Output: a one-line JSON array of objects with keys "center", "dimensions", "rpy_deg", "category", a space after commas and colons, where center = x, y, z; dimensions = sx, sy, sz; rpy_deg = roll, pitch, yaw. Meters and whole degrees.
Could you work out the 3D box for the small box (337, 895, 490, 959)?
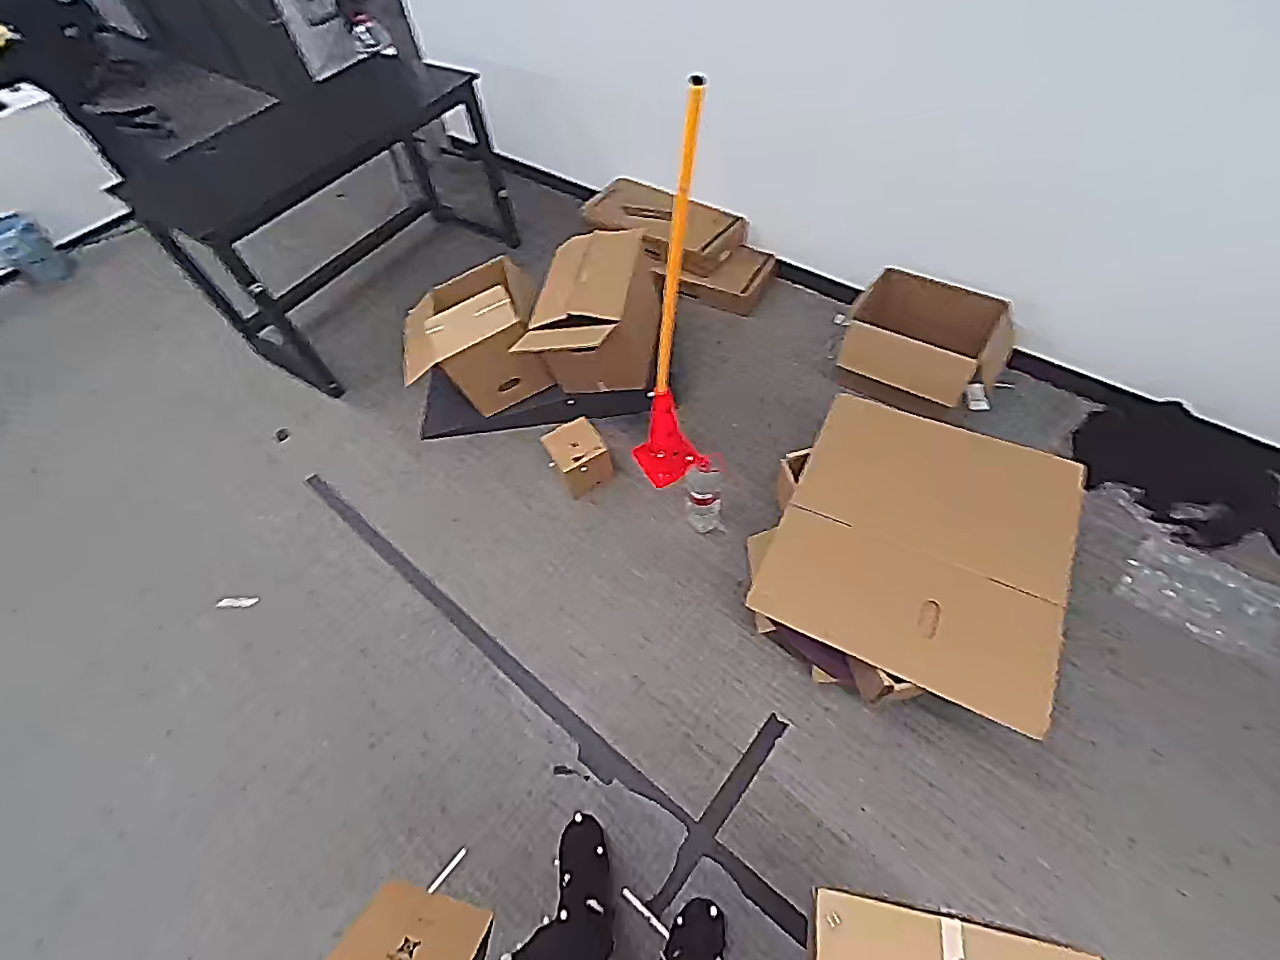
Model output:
[{"center": [-0.312, 0.692, 0.684], "dimensions": [0.168, 0.179, 0.176], "rpy_deg": [12, 92, 7], "category": "small box"}]
